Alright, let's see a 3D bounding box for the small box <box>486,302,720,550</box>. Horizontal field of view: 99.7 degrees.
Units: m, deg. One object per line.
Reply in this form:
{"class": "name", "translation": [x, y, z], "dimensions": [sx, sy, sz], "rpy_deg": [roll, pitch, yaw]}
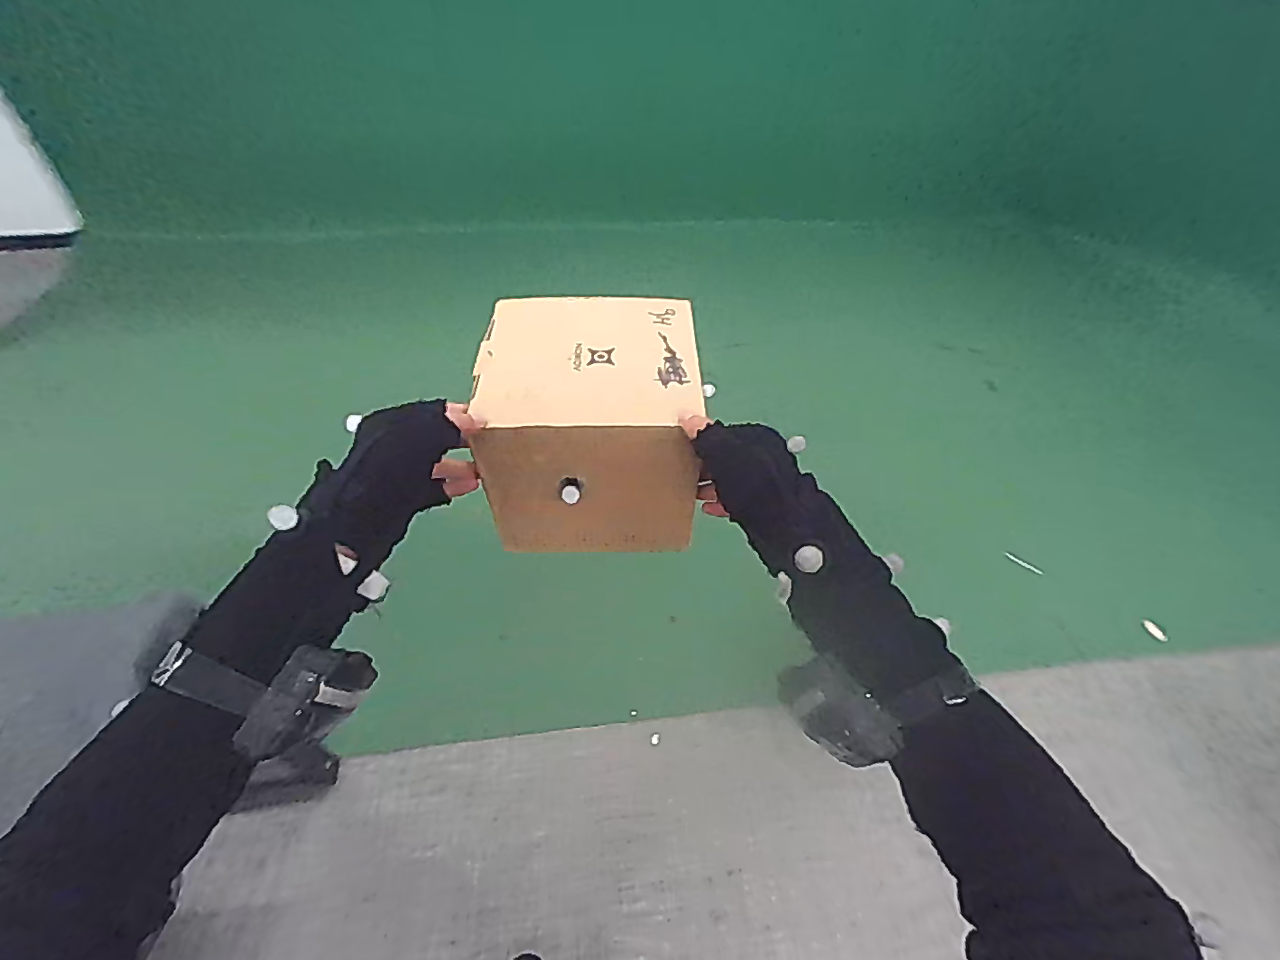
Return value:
{"class": "small box", "translation": [-0.026, -0.046, 0.506], "dimensions": [0.179, 0.176, 0.168], "rpy_deg": [1, 50, 0]}
